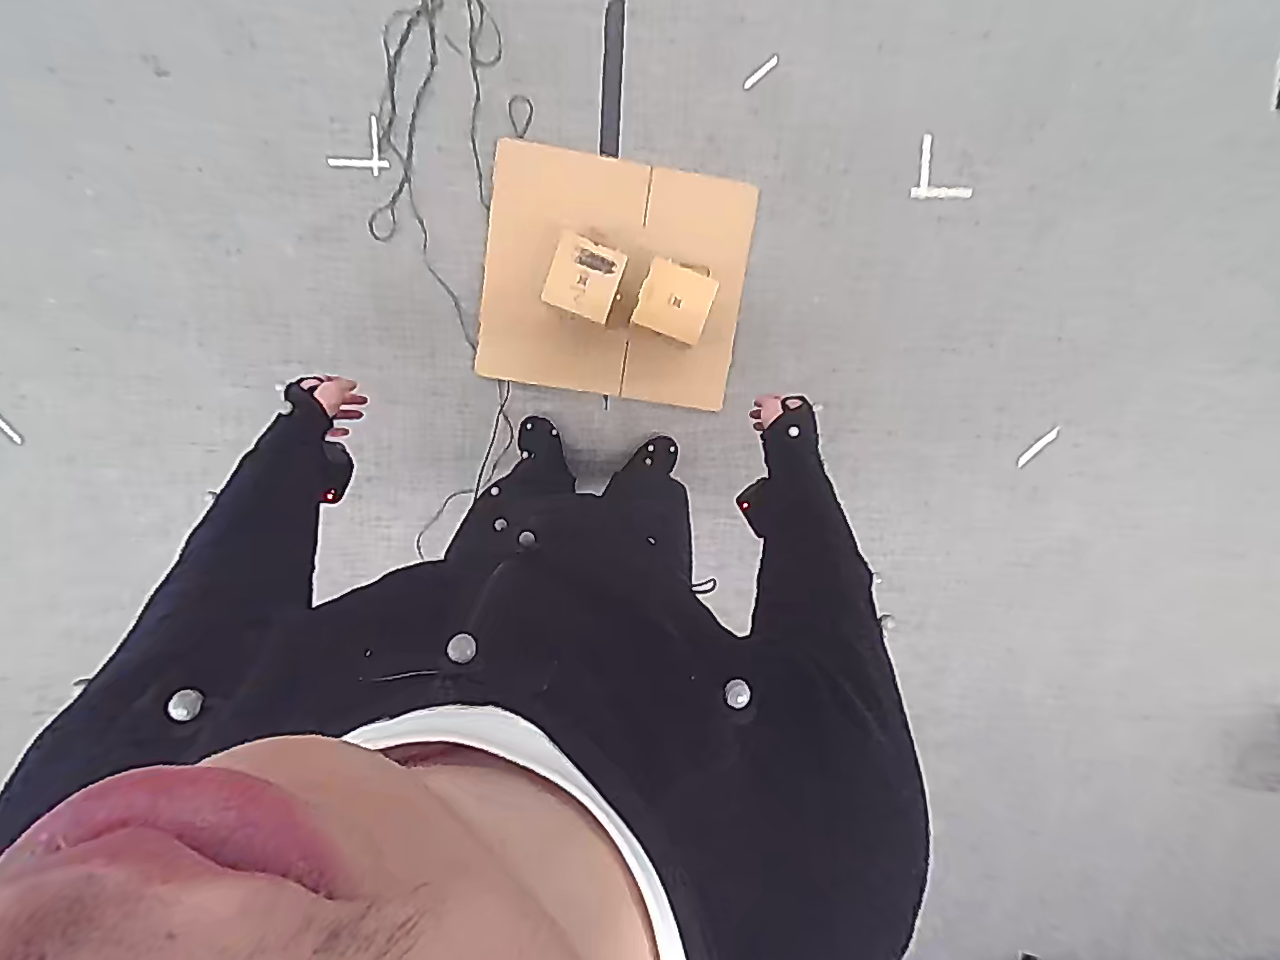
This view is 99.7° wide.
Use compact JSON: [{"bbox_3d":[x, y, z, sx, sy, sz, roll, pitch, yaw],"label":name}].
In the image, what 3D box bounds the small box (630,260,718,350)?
[{"bbox_3d":[0.082,-0.450,1.421,0.179,0.176,0.168,20,97,-6],"label":"small box"}]
